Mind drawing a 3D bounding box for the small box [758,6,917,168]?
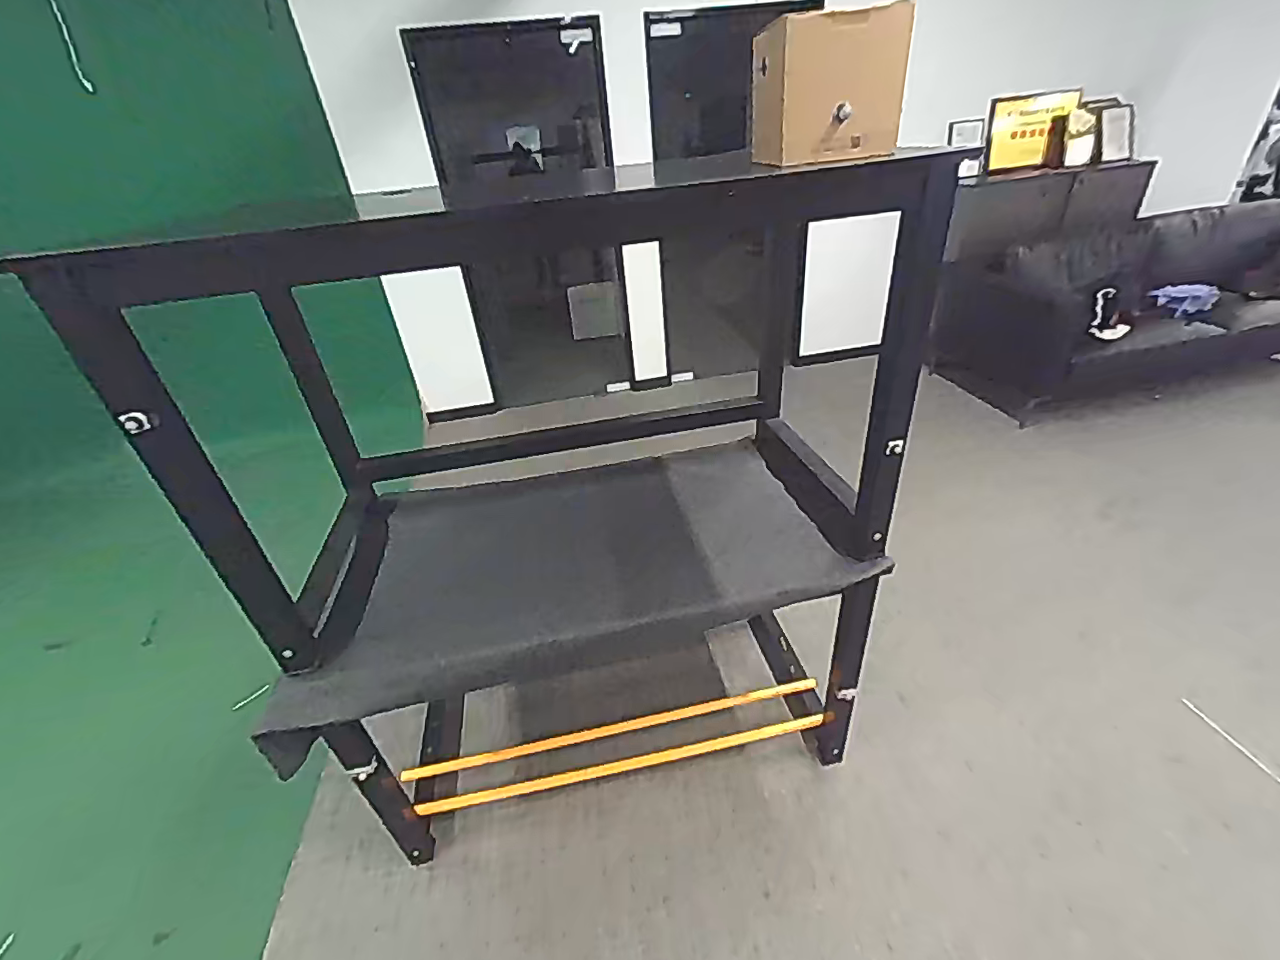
[{"bbox_3d":[0.272,-0.560,0.792,0.168,0.176,0.179,-6,32,1],"label":"small box"}]
